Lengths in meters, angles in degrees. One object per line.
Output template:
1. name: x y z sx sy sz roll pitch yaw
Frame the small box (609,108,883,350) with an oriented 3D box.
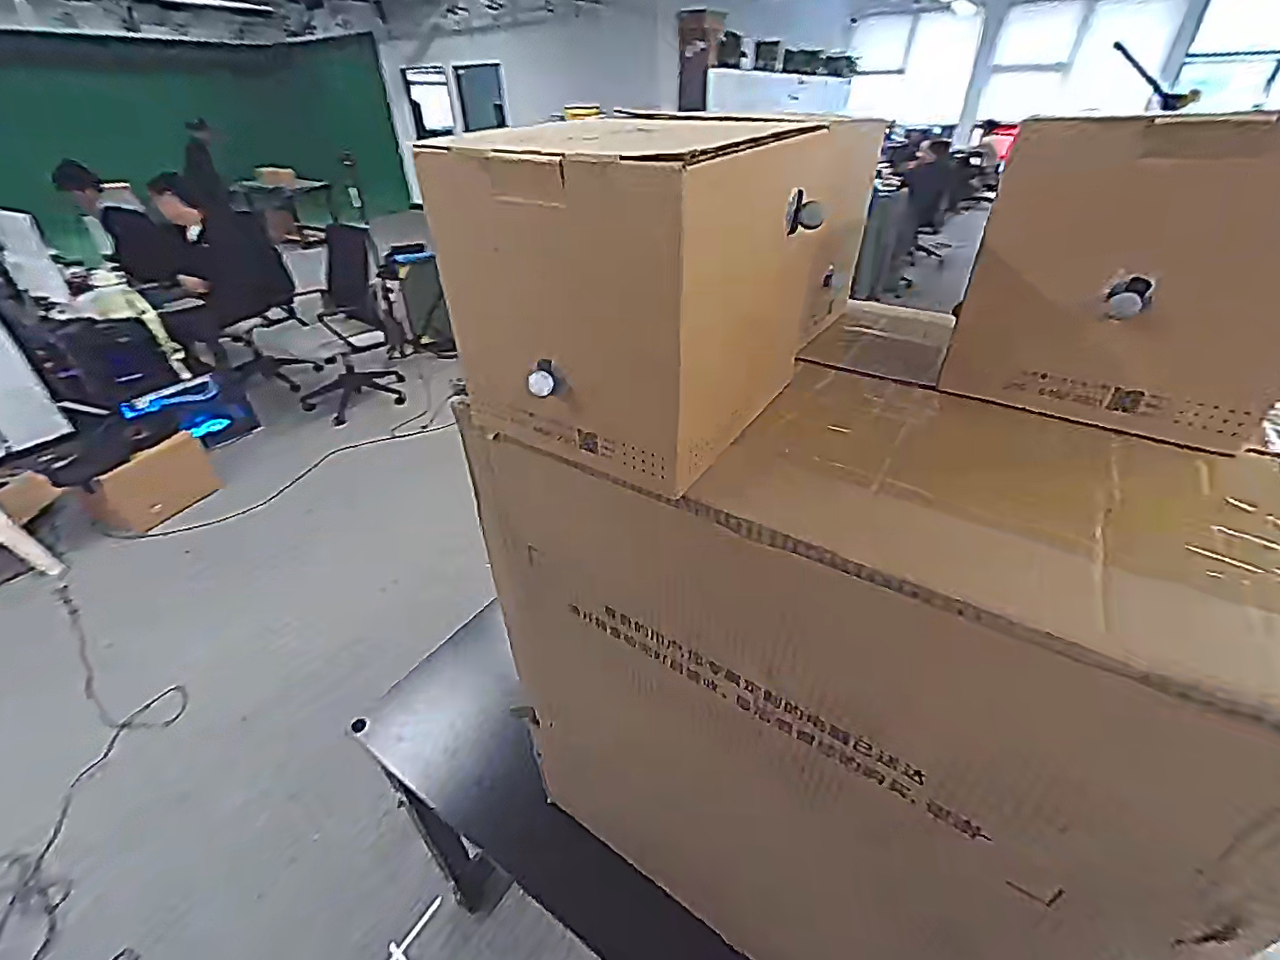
1. small box: 0.089 -0.229 0.485 0.179 0.176 0.168 21 40 27
